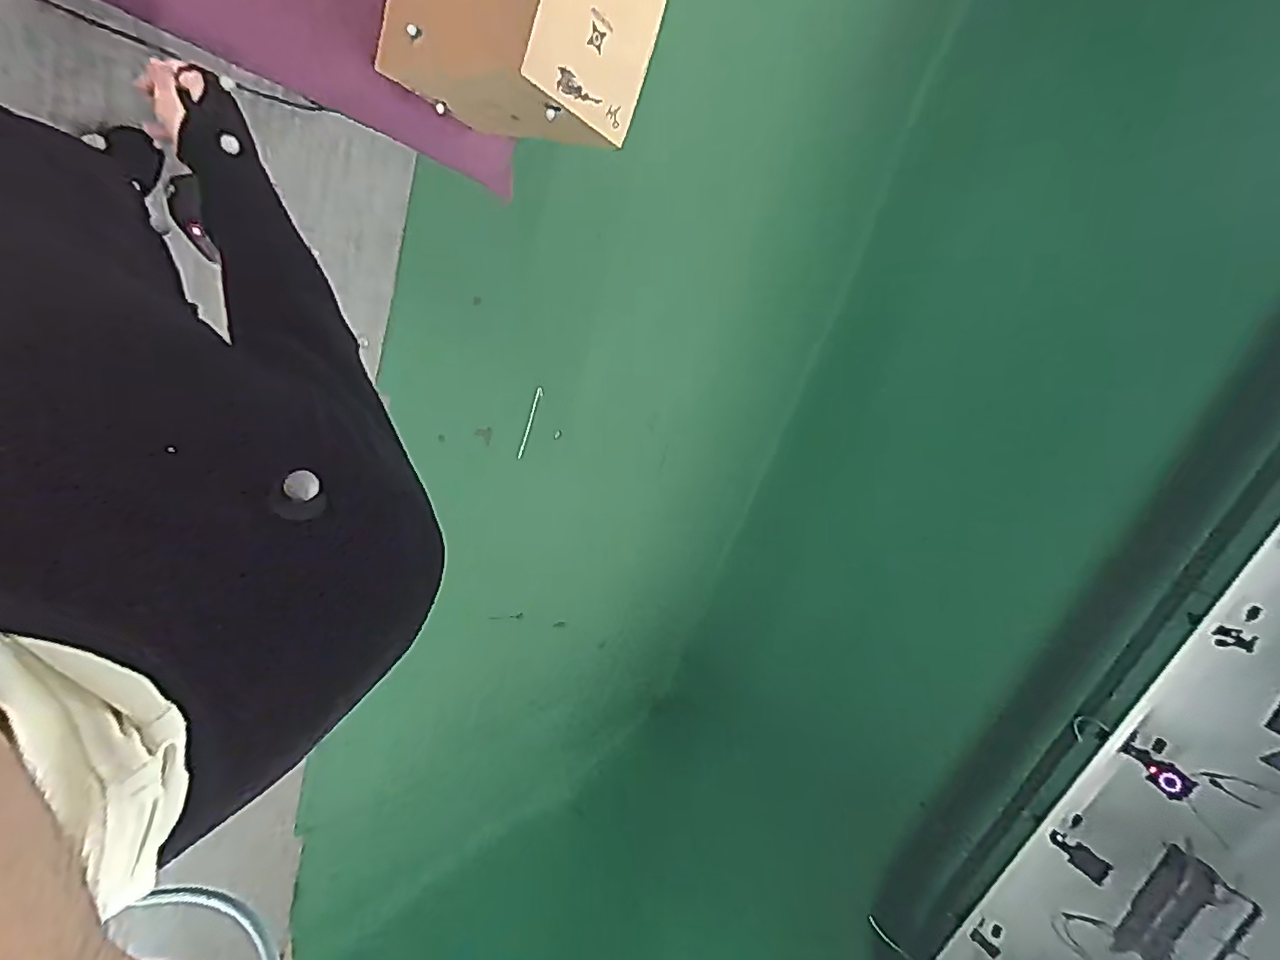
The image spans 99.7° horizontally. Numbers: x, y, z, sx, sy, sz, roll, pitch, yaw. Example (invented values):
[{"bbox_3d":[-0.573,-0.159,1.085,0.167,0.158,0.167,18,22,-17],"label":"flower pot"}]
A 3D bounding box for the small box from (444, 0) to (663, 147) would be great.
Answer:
[{"bbox_3d":[-0.106,-0.529,0.637,0.168,0.176,0.179,0,115,-52],"label":"small box"}]
